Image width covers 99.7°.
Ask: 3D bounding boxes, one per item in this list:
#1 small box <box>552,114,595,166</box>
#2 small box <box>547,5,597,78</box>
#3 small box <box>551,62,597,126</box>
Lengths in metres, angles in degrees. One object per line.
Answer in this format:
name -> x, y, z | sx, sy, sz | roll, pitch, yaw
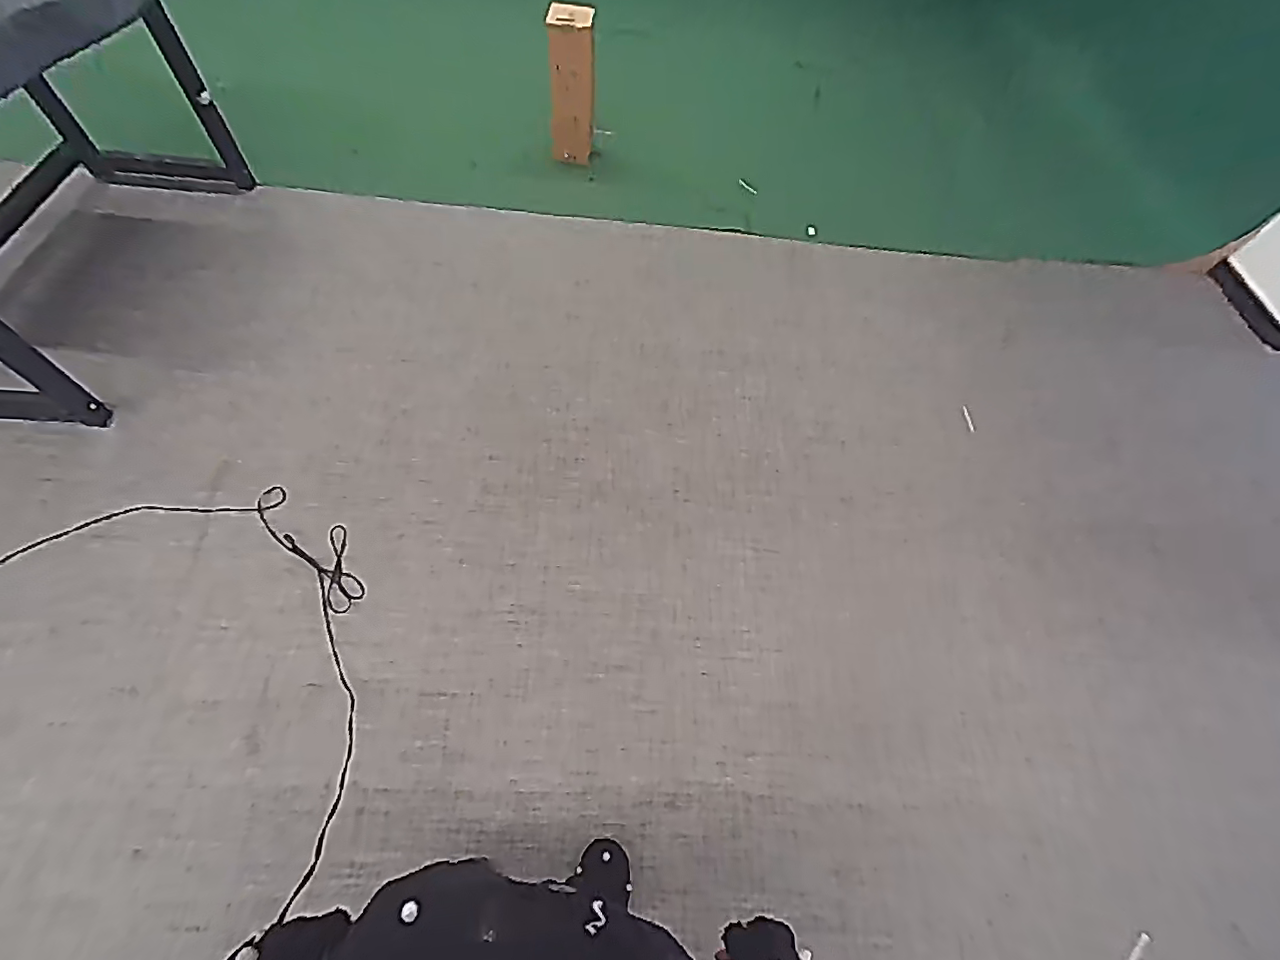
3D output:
small box -> -0.288, -1.515, 2.365 | 0.168, 0.176, 0.179 | 5, 61, -2
small box -> -0.258, -1.689, 2.088 | 0.168, 0.176, 0.179 | 6, 59, -2
small box -> -0.270, -1.600, 2.227 | 0.168, 0.176, 0.179 | 6, 59, -2
